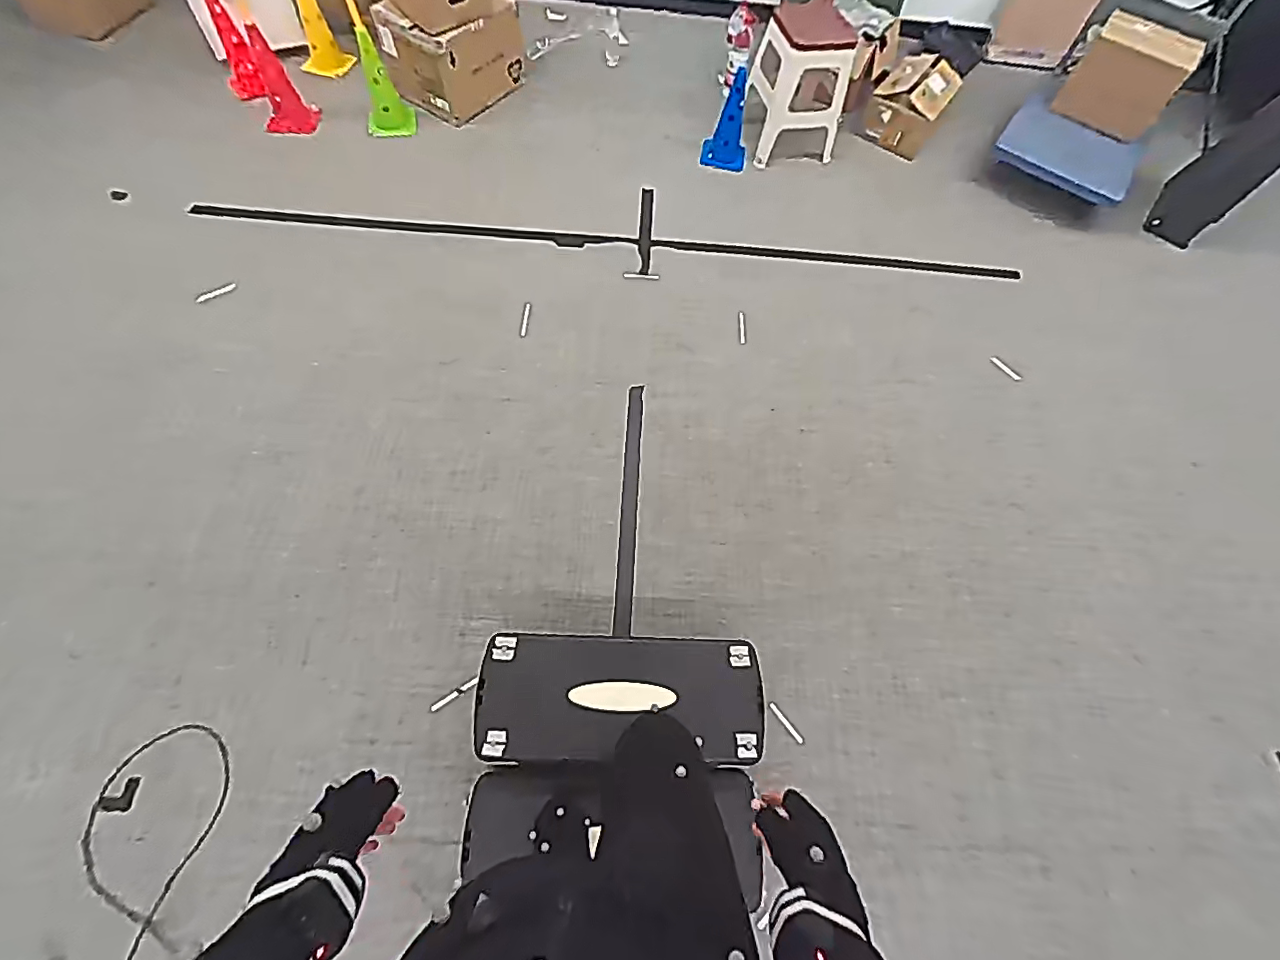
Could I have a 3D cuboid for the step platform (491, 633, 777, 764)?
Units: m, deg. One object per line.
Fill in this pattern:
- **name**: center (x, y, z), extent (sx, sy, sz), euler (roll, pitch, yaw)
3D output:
- **step platform**: center (-0.013, 0.539, 1.333), extent (0.684, 0.204, 0.286), euler (3, 63, -5)
